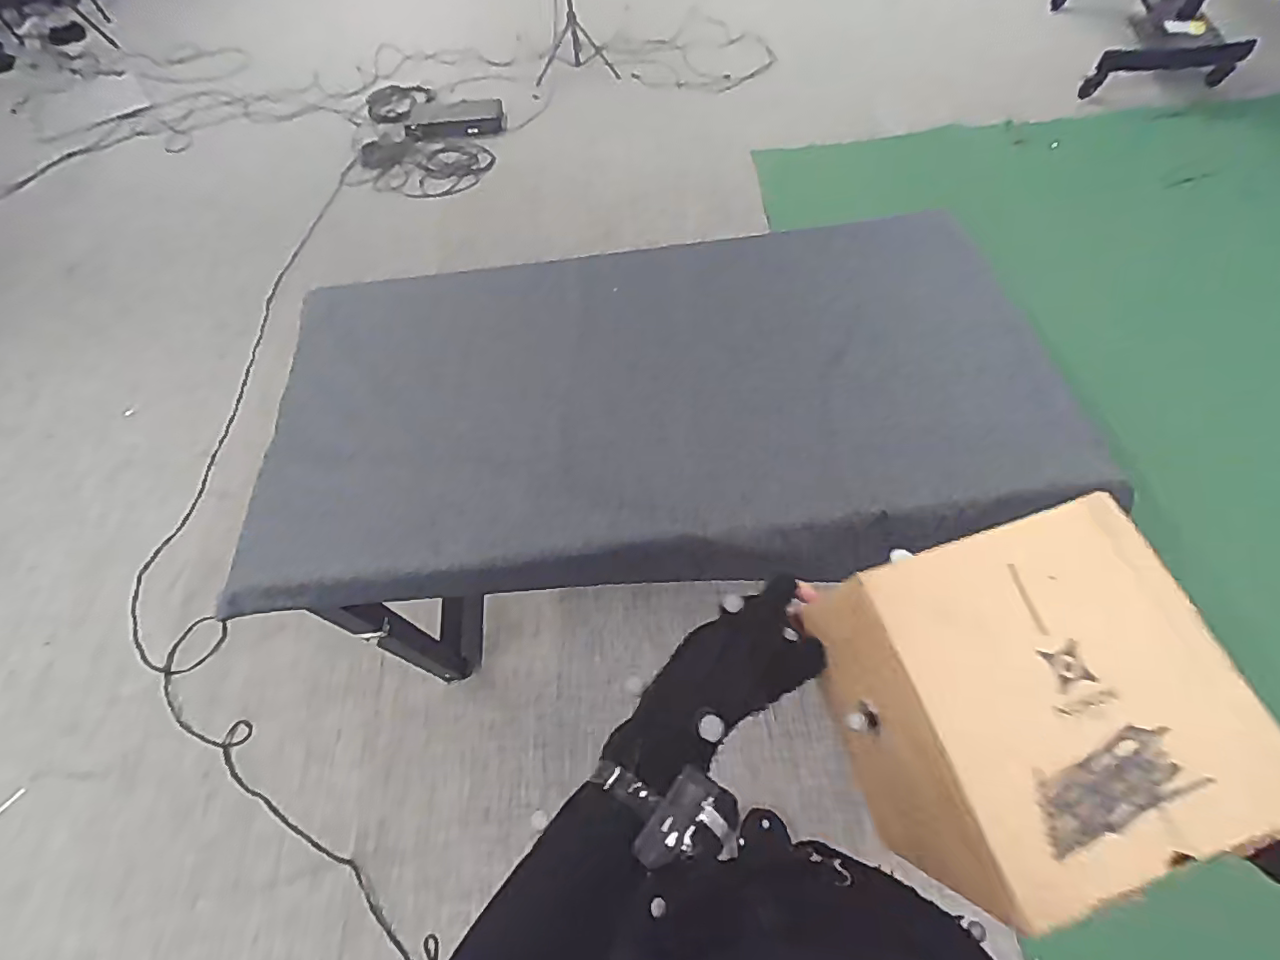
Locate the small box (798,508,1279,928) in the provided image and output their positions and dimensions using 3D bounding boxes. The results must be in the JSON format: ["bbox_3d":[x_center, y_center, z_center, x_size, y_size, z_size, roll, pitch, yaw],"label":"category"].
[{"bbox_3d":[0.230,0.143,0.365,0.168,0.176,0.179,-16,68,-5],"label":"small box"}]
